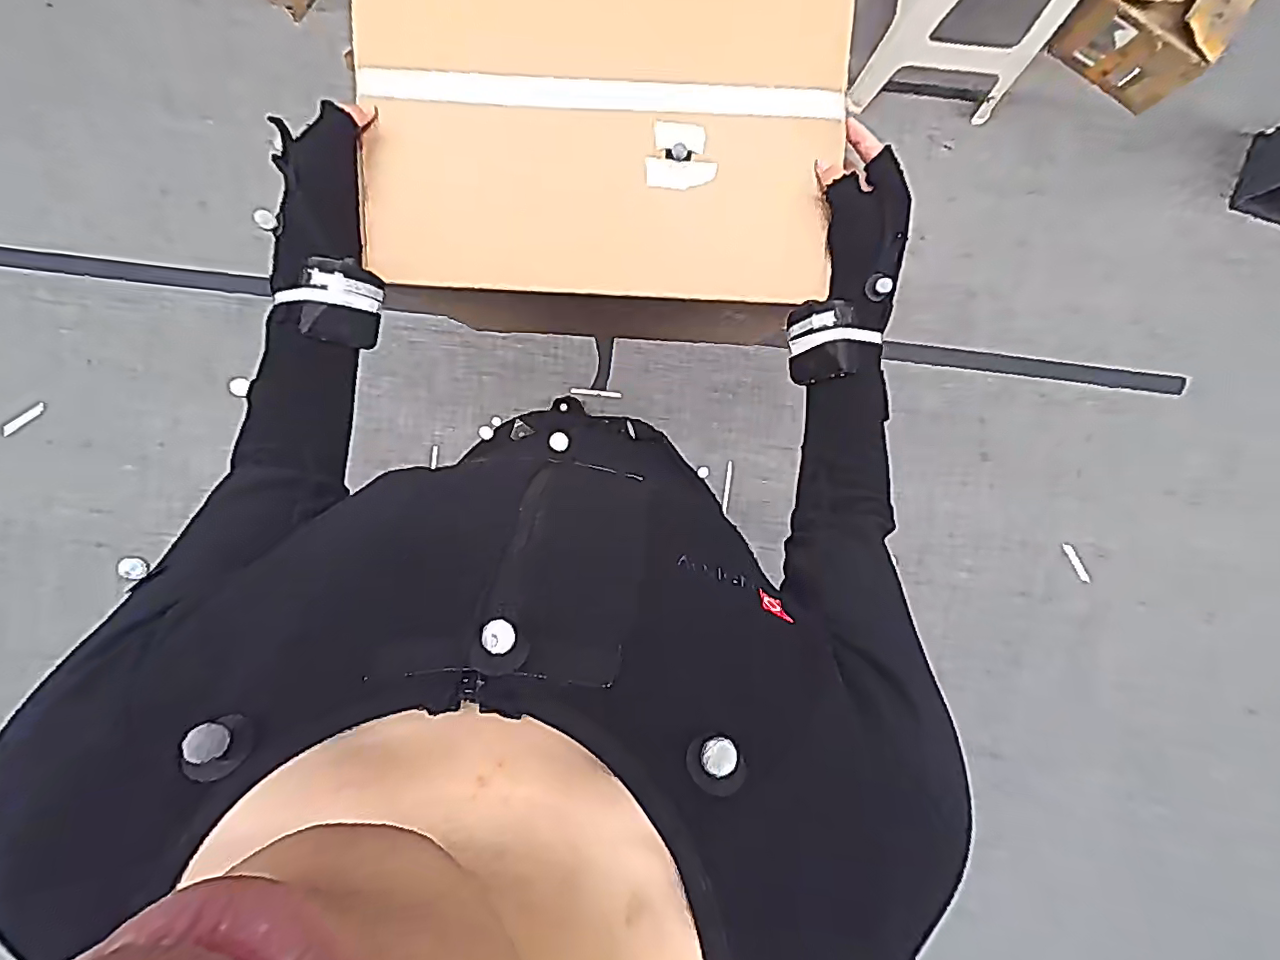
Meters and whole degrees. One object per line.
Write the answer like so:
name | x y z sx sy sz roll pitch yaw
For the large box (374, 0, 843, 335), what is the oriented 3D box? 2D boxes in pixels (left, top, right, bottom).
large box | -0.032 -0.345 0.614 0.408 0.320 0.320 2 99 -1
